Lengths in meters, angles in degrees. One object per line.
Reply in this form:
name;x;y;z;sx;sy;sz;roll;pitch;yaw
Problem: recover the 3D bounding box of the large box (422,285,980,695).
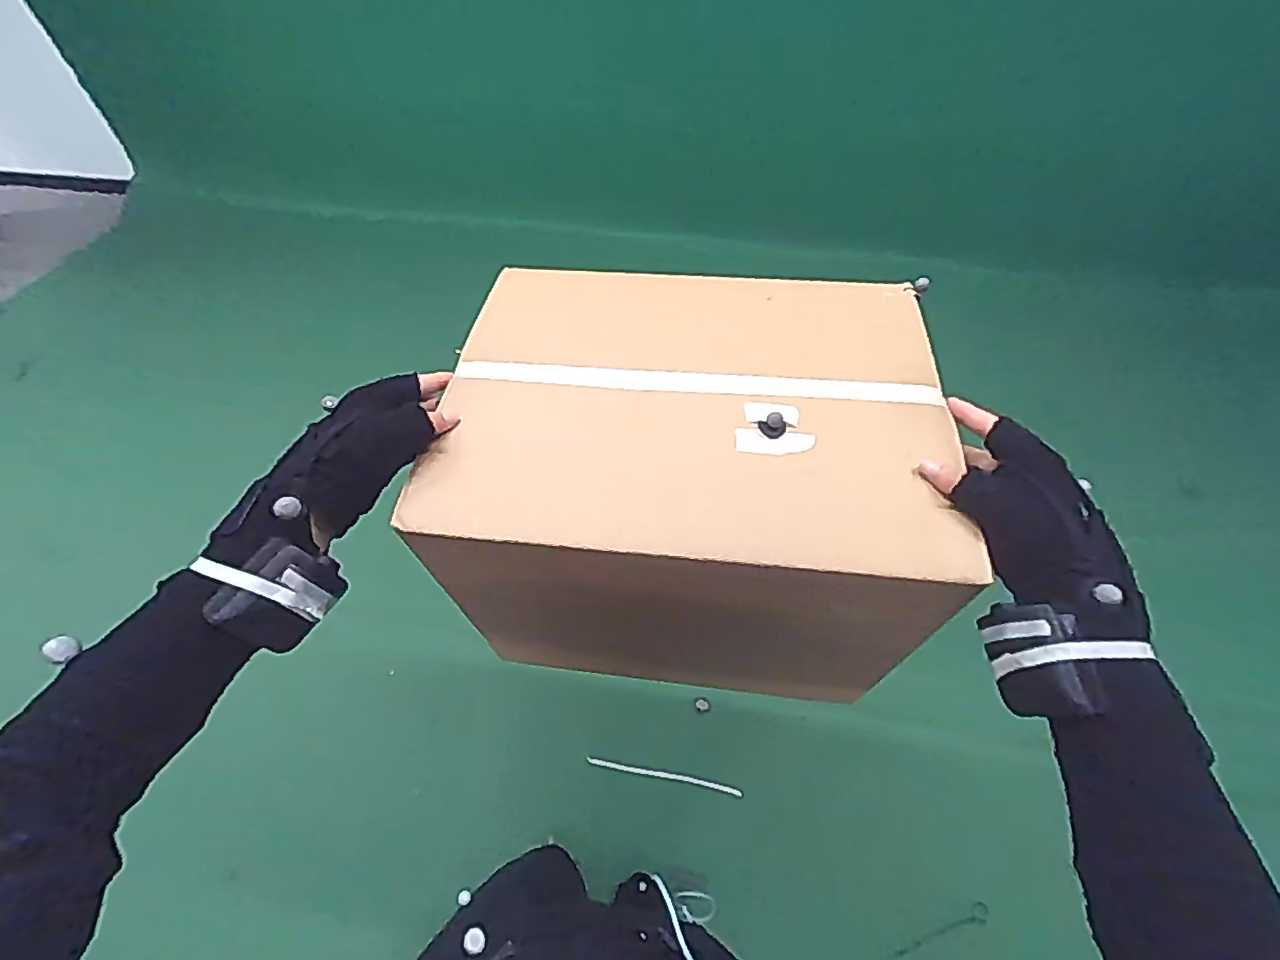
large box;0.052;0.018;0.585;0.408;0.320;0.320;5;55;5
